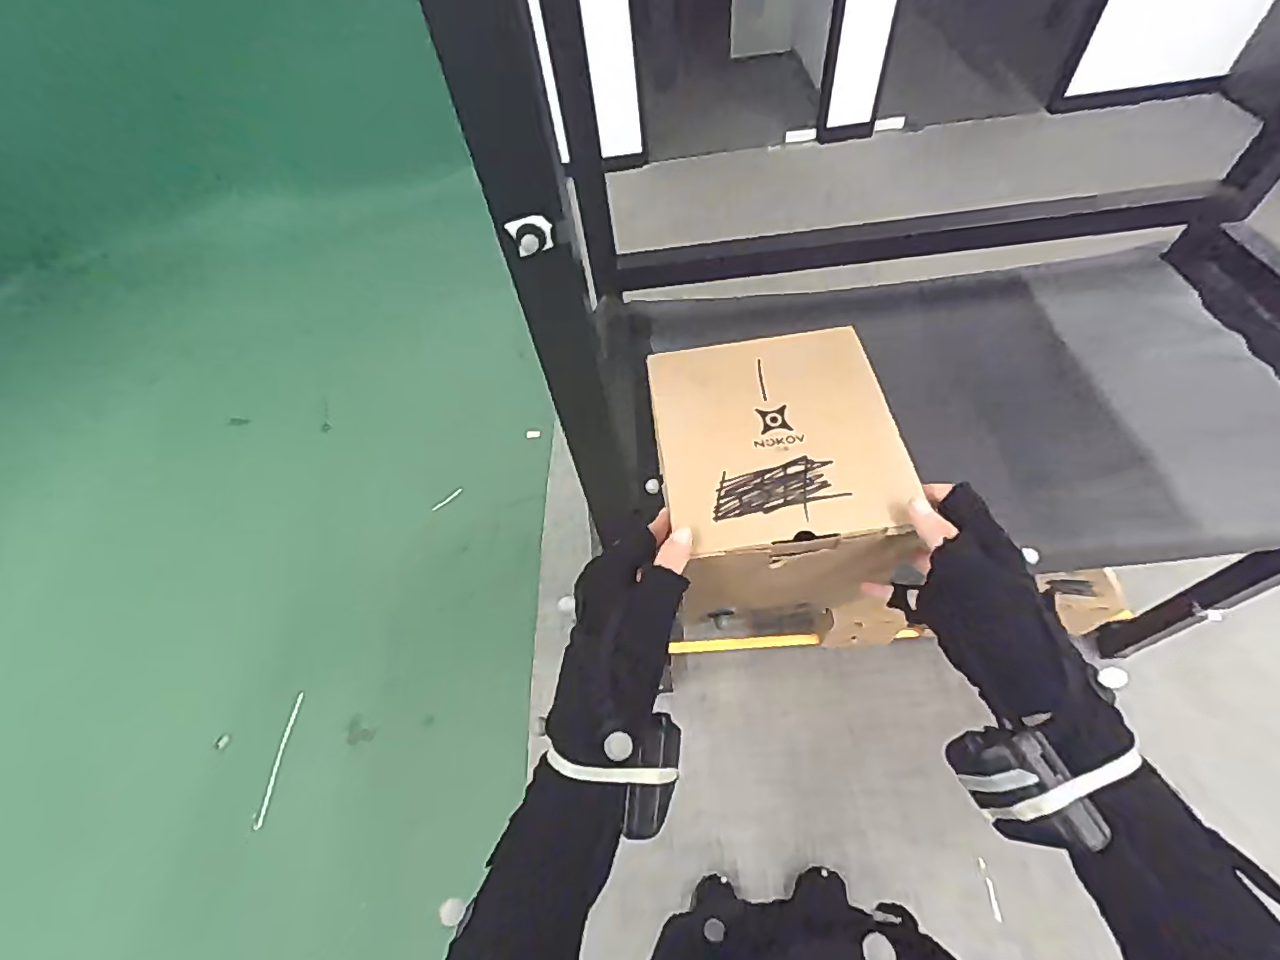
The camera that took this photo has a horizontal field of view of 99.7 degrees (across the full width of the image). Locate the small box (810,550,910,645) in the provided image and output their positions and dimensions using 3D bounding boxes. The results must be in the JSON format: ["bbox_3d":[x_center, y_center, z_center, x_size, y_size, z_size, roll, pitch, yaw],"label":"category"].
[{"bbox_3d":[0.513,0.283,1.291,0.168,0.176,0.179,-3,57,5],"label":"small box"}]
